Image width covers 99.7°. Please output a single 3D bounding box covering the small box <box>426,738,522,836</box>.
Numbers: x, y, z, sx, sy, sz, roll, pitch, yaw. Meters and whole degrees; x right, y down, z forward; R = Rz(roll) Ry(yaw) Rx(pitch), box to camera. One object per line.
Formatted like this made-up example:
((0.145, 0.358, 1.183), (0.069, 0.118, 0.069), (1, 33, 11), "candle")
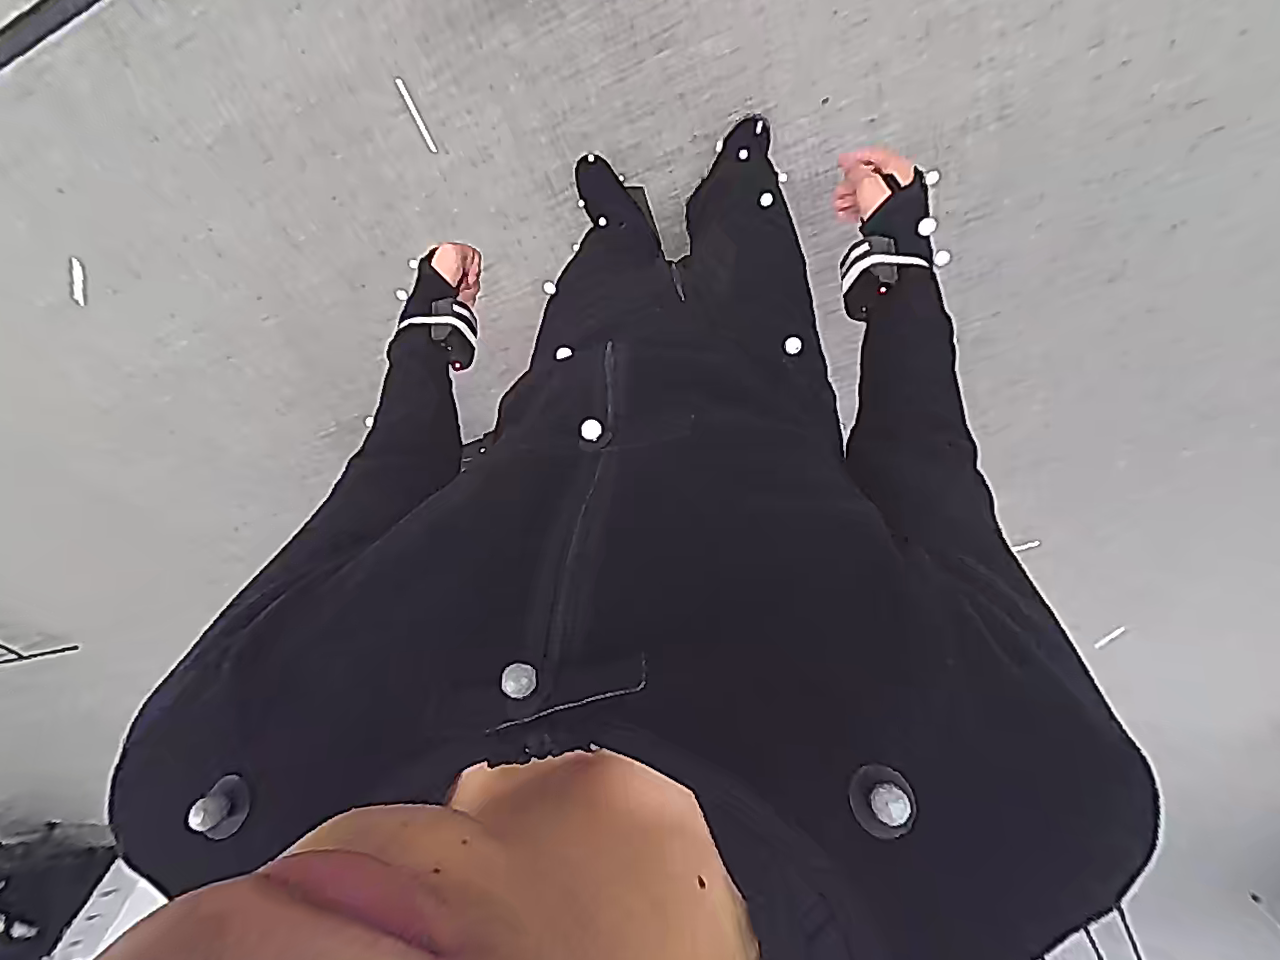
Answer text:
((-0.436, 0.824, 1.458), (0.179, 0.176, 0.168), (-26, 122, 19), "small box")
